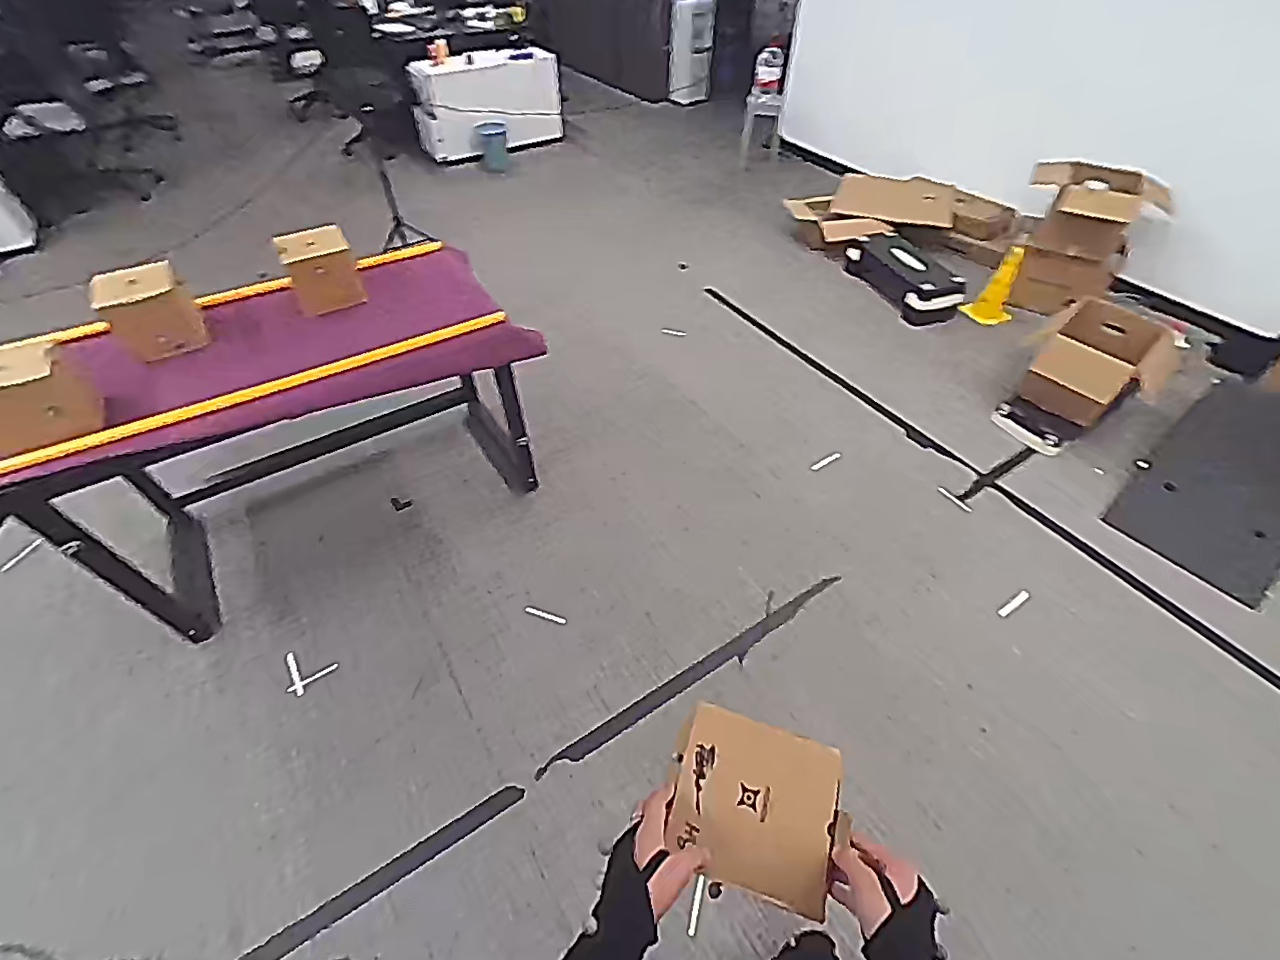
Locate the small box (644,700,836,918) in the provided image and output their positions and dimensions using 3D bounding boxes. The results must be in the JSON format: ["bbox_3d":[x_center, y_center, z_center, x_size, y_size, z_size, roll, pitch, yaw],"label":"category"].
[{"bbox_3d":[0.114,0.391,0.657,0.179,0.176,0.168,17,57,6],"label":"small box"}]

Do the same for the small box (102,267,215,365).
[{"bbox_3d":[-1.280,-0.437,1.446,0.168,0.176,0.179,-25,55,-20],"label":"small box"}]

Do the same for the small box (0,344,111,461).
[{"bbox_3d":[-1.342,-0.173,1.212,0.179,0.176,0.168,-24,53,-23],"label":"small box"}]

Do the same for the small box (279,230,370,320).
[{"bbox_3d":[-0.922,-0.604,1.597,0.179,0.176,0.168,-25,55,-20],"label":"small box"}]
